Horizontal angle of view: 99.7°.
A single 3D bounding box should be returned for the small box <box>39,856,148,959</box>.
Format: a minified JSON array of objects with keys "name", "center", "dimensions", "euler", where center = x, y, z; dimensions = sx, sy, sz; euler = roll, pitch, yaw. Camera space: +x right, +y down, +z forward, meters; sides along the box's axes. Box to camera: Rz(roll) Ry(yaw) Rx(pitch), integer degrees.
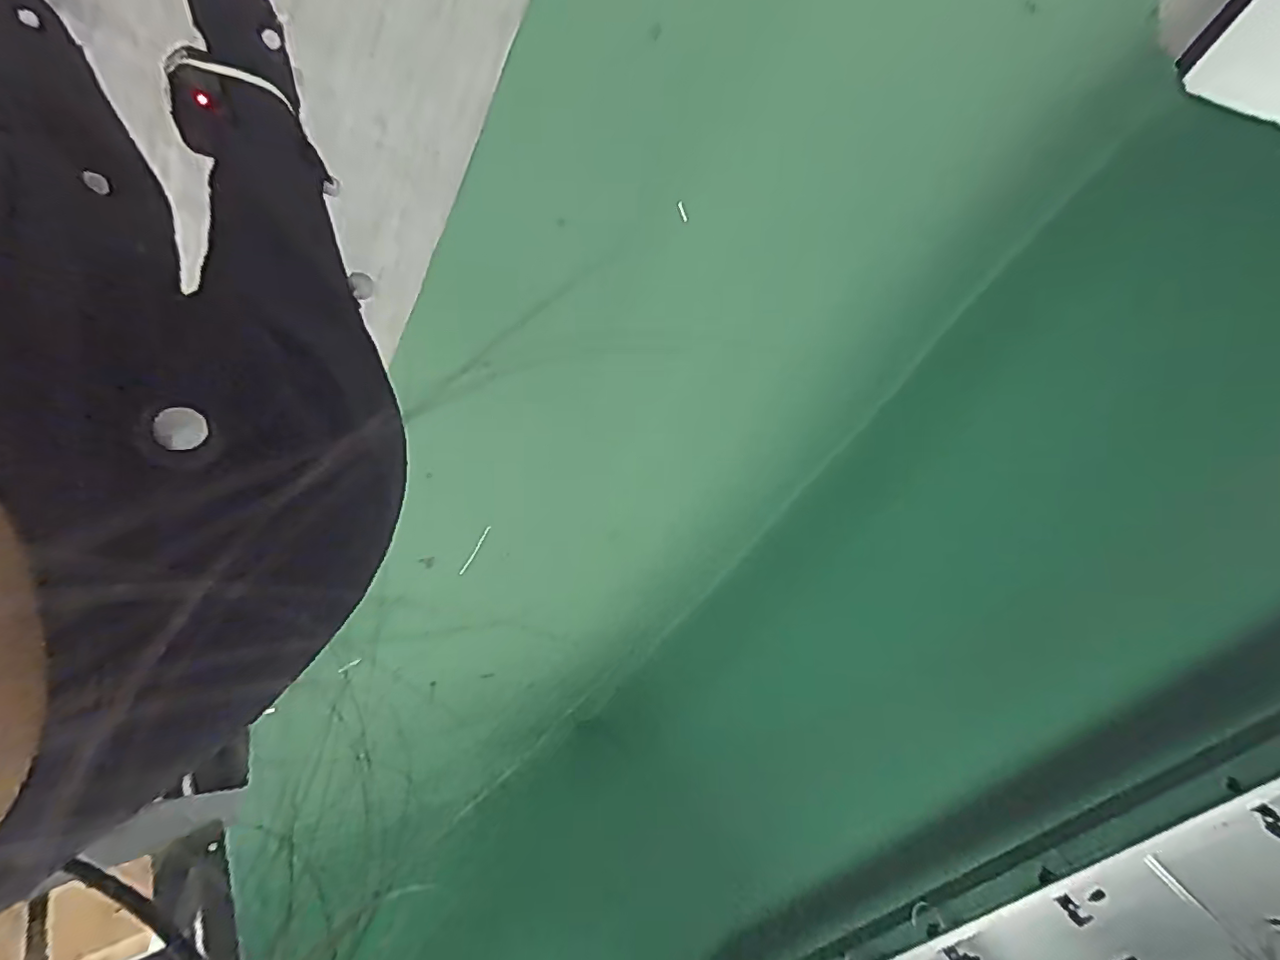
[{"name":"small box","center":[-1.250,1.004,1.235],"dimensions":[0.168,0.176,0.179],"euler":[2,133,-47]}]
